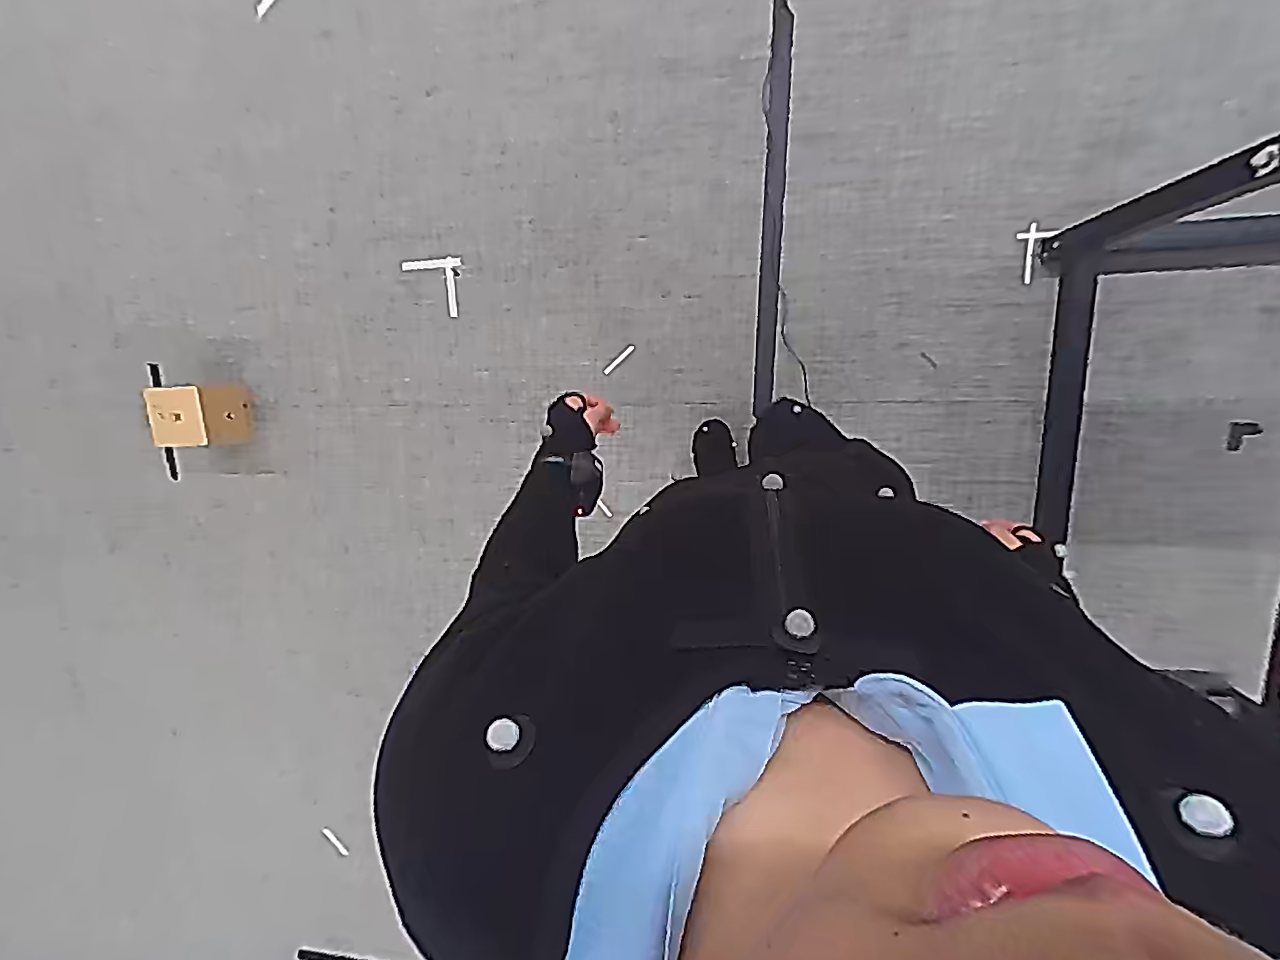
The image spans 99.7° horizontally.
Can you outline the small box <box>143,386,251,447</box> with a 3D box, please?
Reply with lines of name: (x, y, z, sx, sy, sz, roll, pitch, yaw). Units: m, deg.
small box: (-1.274, -0.189, 1.573, 0.179, 0.176, 0.168, -1, 100, 9)
